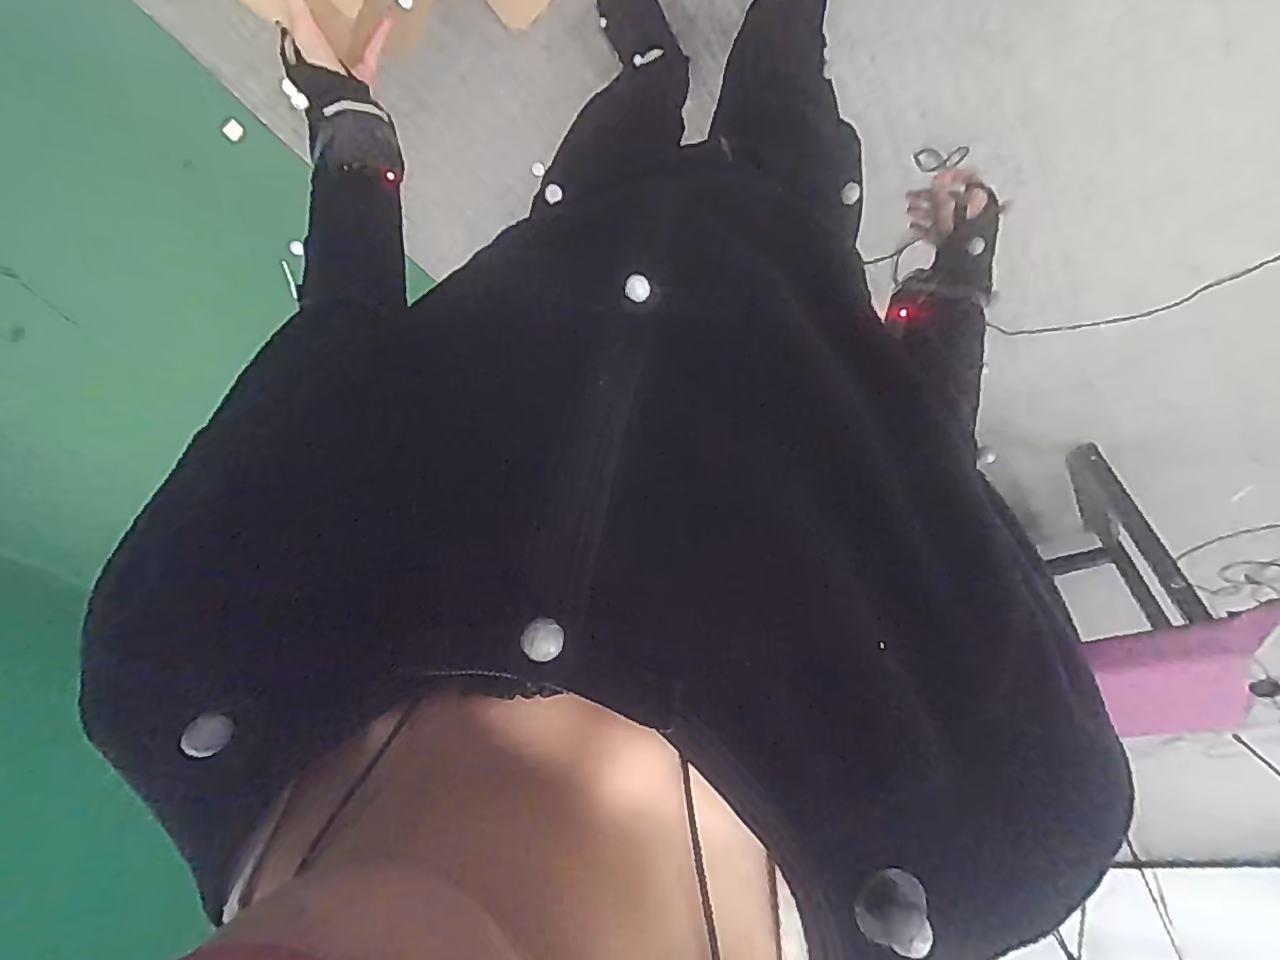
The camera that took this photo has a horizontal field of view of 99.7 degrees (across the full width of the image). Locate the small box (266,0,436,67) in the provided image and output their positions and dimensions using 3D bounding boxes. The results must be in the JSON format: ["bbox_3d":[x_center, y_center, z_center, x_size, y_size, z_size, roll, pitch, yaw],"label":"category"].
[{"bbox_3d":[-0.264,-0.519,0.470,0.168,0.176,0.179,36,133,-25],"label":"small box"}]
